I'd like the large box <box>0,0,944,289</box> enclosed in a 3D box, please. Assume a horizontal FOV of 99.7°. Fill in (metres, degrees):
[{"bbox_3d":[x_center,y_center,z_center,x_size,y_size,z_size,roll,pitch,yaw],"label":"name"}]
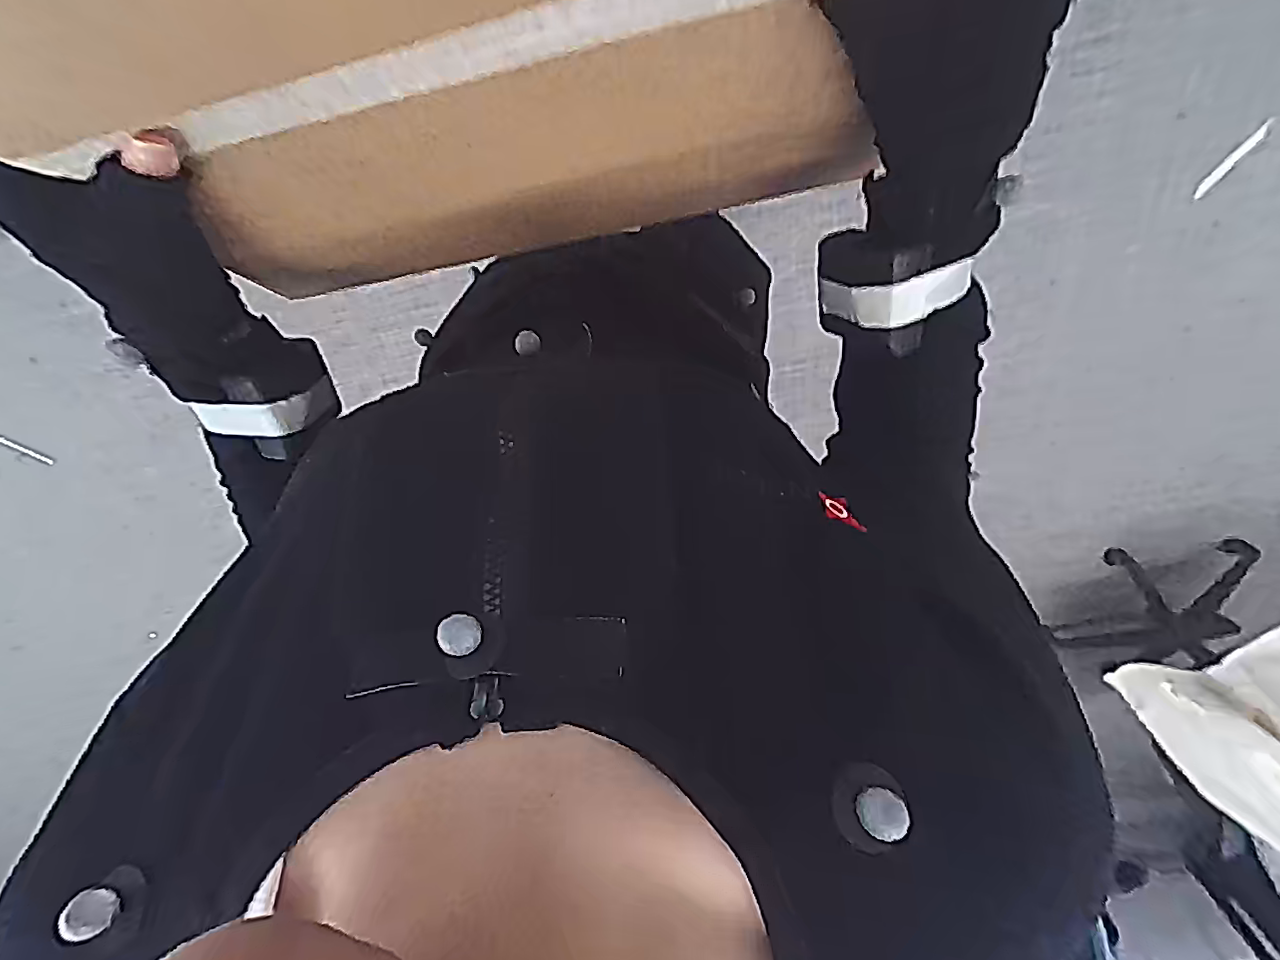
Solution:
[{"bbox_3d":[-0.093,-0.323,0.225,0.408,0.320,0.320,-9,87,6],"label":"large box"}]
